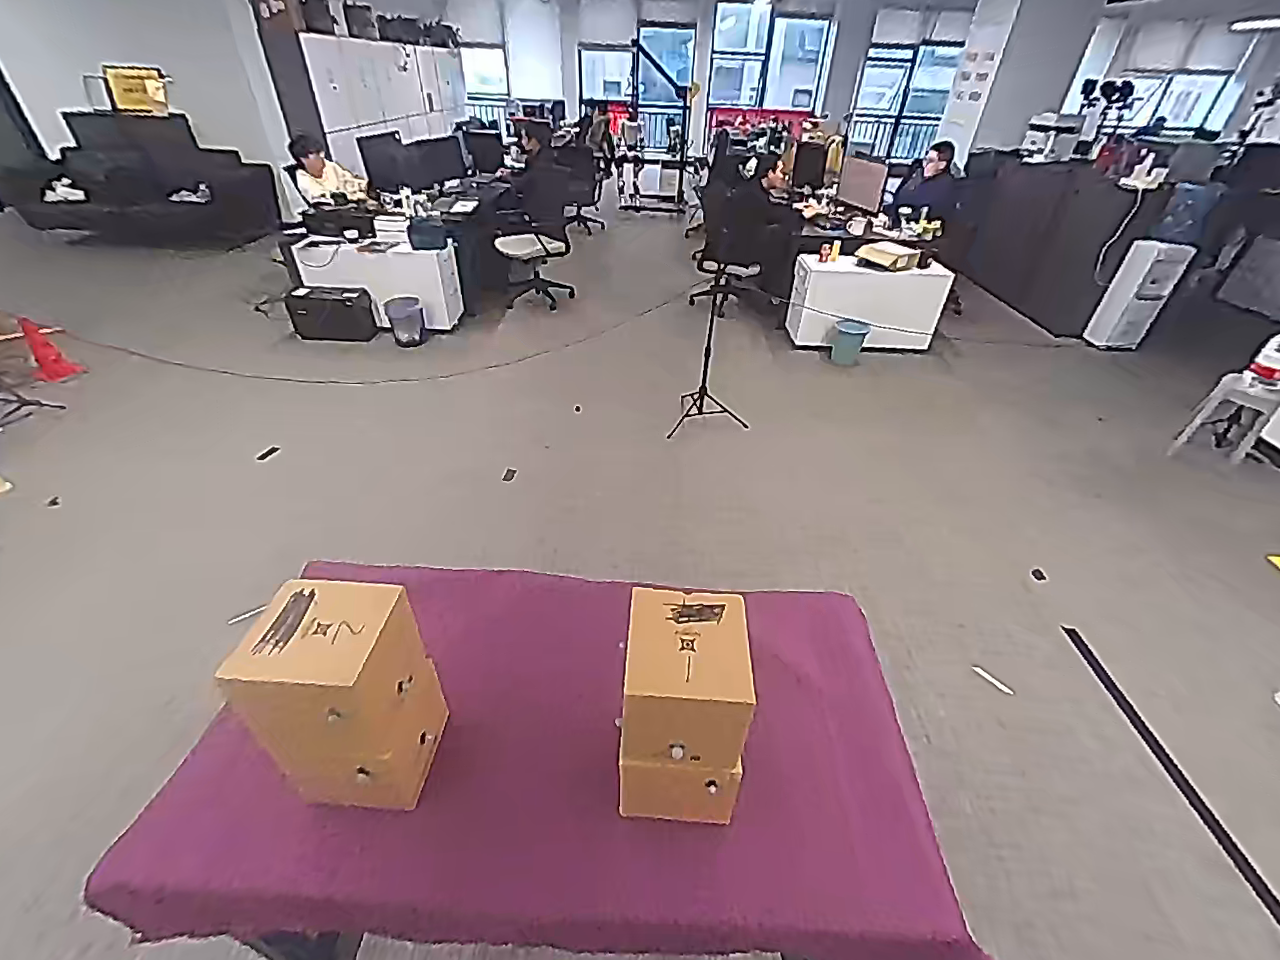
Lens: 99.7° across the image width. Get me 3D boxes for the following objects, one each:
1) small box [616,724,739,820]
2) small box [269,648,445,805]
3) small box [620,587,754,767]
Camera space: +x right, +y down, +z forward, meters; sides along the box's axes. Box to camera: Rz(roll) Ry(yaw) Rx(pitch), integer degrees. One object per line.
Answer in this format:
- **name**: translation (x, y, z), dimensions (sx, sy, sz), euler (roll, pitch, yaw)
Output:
- **small box**: translation (0.056, 0.419, 0.866), dimensions (0.179, 0.176, 0.168), euler (4, 37, 1)
- **small box**: translation (-0.432, 0.394, 0.865), dimensions (0.179, 0.176, 0.168), euler (4, 37, 2)
- **small box**: translation (0.061, 0.280, 0.777), dimensions (0.168, 0.176, 0.179), euler (4, 37, 2)
